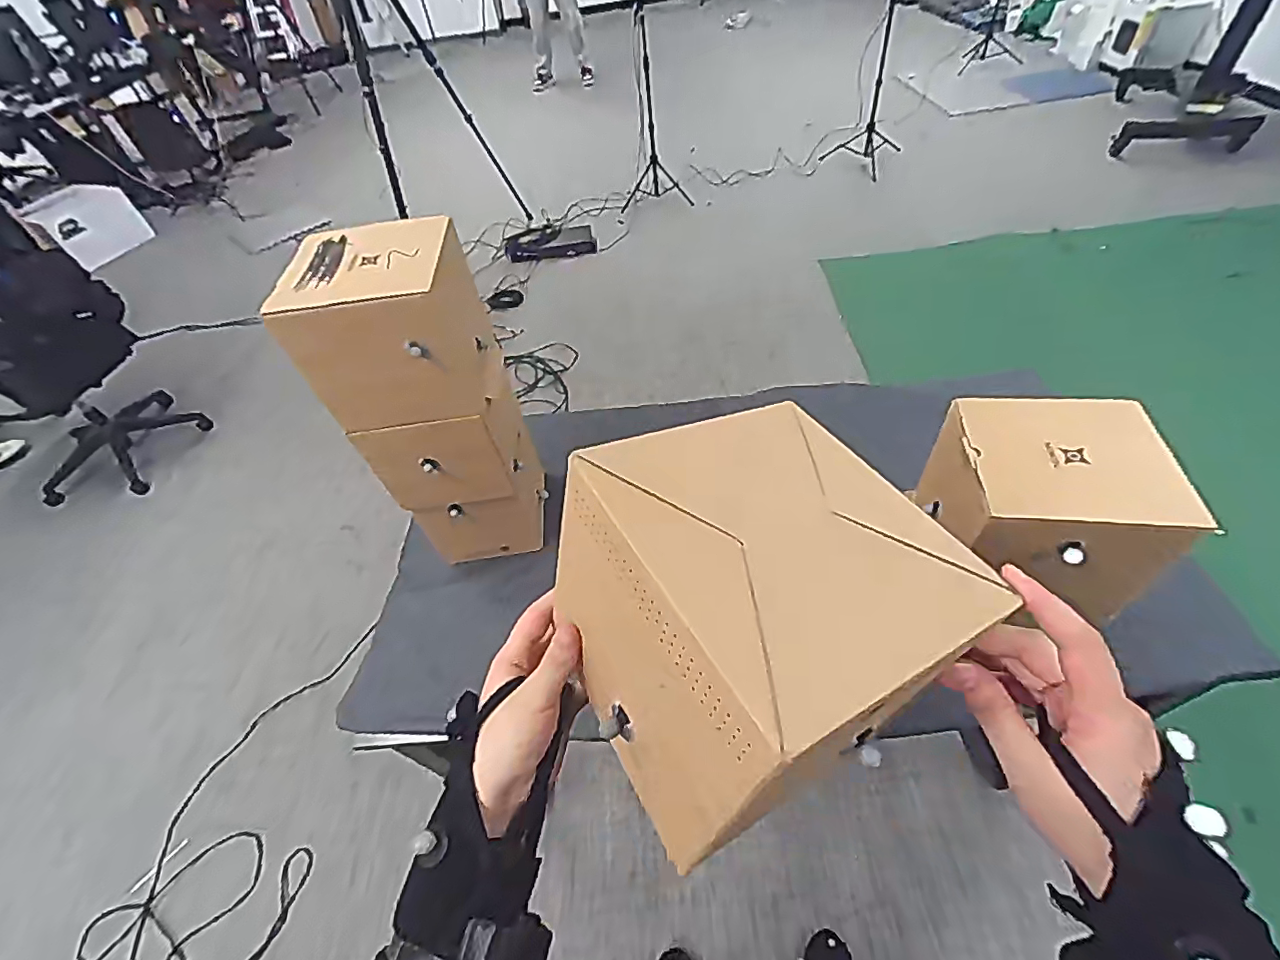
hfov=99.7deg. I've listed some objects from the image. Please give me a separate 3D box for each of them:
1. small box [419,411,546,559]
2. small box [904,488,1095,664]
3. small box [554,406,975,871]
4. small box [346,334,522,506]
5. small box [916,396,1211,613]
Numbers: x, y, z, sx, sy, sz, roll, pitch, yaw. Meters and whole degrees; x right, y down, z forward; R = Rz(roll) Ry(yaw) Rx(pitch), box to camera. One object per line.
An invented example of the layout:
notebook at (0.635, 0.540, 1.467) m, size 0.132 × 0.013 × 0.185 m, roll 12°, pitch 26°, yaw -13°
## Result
small box at (-0.258, 0.010, 0.913) m, size 0.168 × 0.176 × 0.179 m, roll -8°, pitch 51°, yaw 0°
small box at (0.438, 0.123, 0.711) m, size 0.168 × 0.176 × 0.179 m, roll -6°, pitch 50°, yaw 5°
small box at (0.059, 0.081, 0.327) m, size 0.168 × 0.176 × 0.179 m, roll -15°, pitch 49°, yaw -28°
small box at (-0.276, -0.081, 0.775) m, size 0.179 × 0.176 × 0.168 m, roll -8°, pitch 51°, yaw 2°
small box at (0.419, 0.029, 0.579) m, size 0.179 × 0.176 × 0.168 m, roll 2°, pitch 50°, yaw 12°
